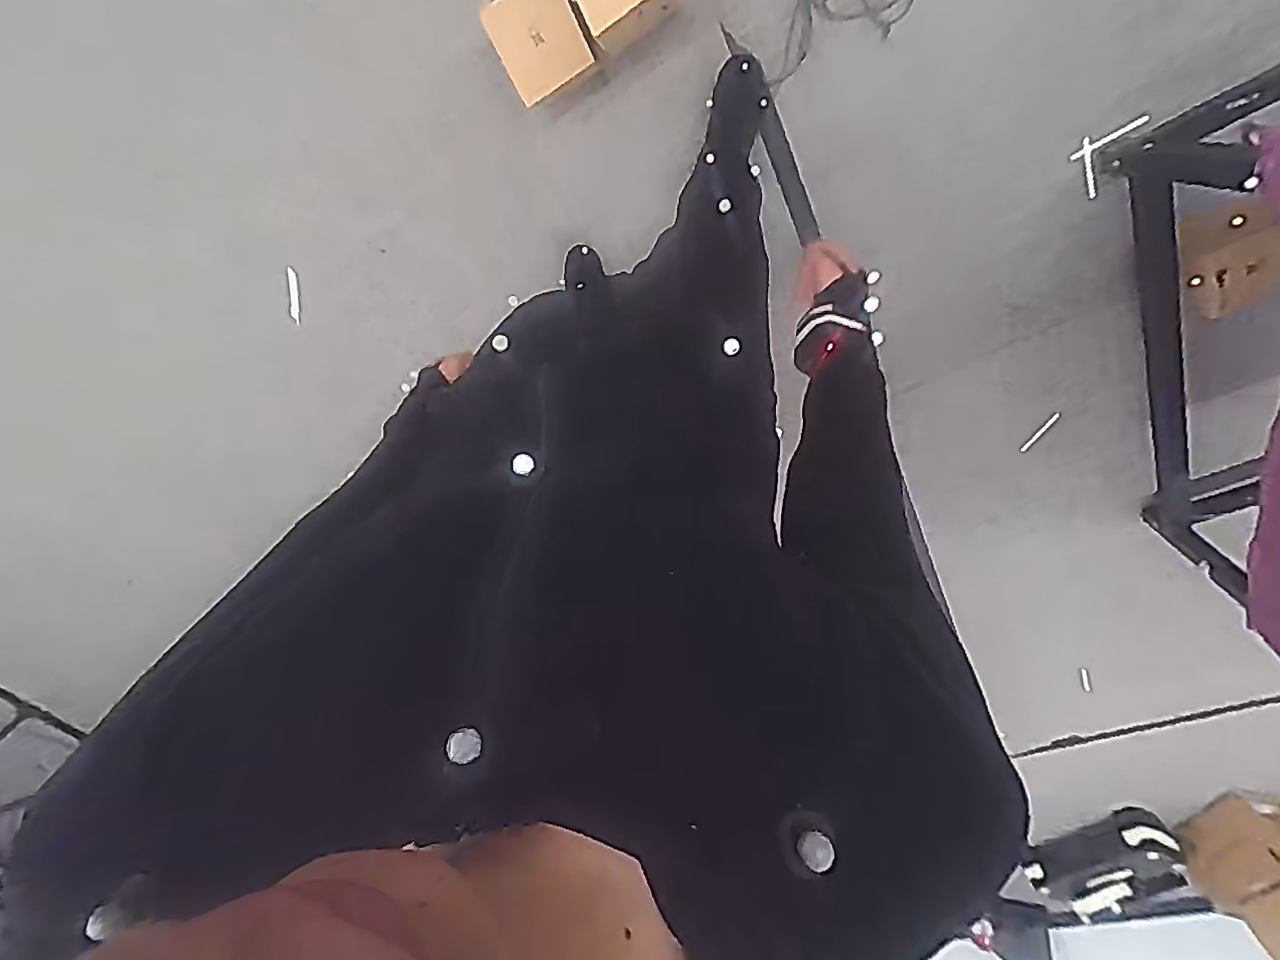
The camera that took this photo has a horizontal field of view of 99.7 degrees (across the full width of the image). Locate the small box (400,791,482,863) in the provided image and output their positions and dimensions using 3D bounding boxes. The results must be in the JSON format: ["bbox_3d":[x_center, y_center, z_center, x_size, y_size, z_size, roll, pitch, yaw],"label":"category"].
[{"bbox_3d":[-0.680,1.209,1.871,0.179,0.176,0.168,-23,119,20],"label":"small box"}]
